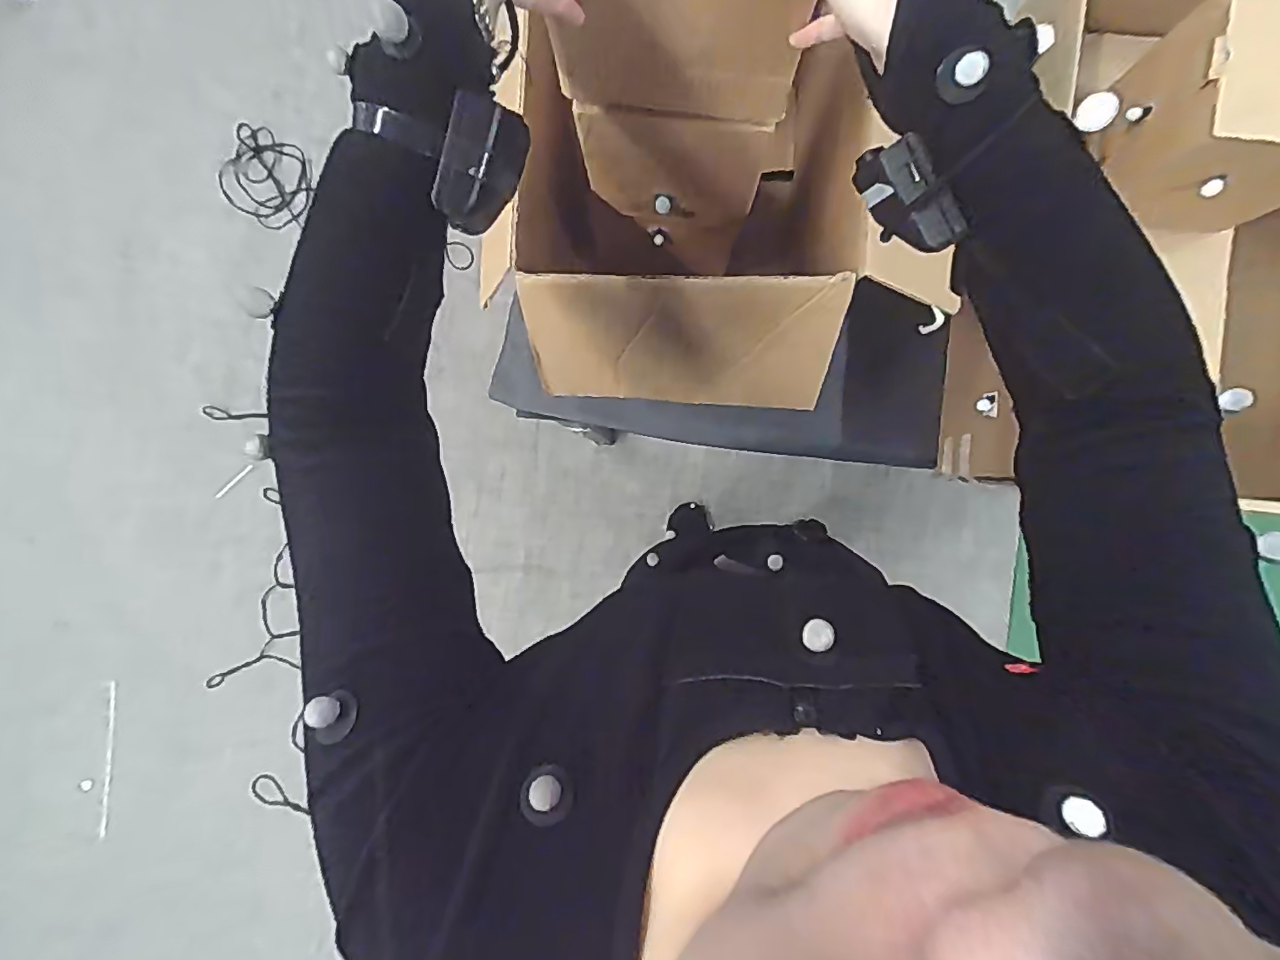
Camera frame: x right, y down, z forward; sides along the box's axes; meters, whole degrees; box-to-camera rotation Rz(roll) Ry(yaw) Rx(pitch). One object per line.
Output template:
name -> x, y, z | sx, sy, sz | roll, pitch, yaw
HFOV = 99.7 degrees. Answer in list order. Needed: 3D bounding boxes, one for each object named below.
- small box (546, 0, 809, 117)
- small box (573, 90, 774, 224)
small box -> 0.032, -0.375, 0.351 | 0.179, 0.176, 0.168 | 9, 90, 2
small box -> 0.040, -0.377, 0.516 | 0.168, 0.176, 0.179 | 8, 92, 3
